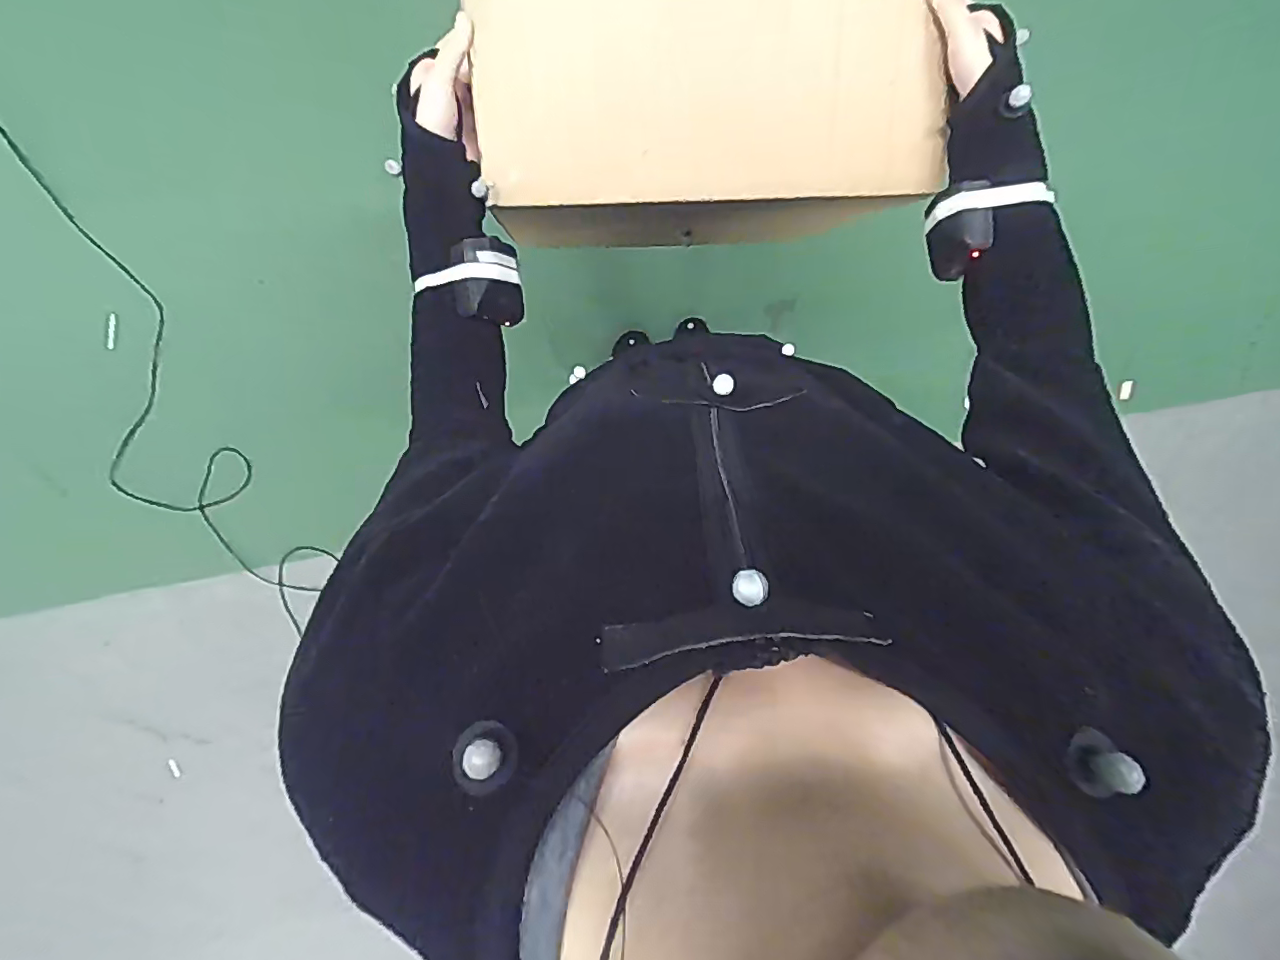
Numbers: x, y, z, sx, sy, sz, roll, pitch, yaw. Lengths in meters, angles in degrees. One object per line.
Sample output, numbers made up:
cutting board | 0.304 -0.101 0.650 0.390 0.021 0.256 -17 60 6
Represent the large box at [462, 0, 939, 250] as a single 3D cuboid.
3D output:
large box | 0.043 -0.434 0.581 0.408 0.320 0.320 -4 106 -5
